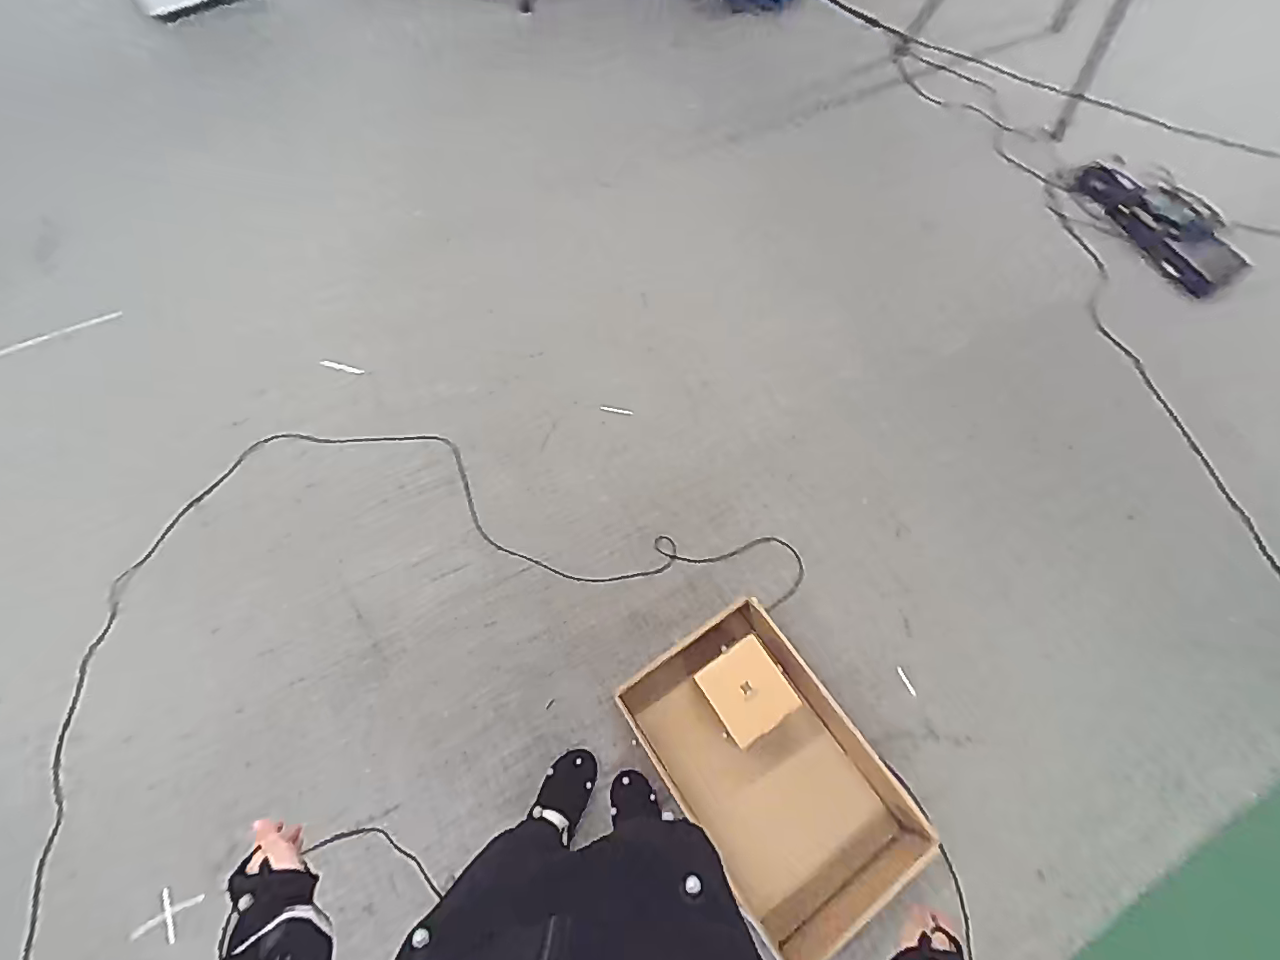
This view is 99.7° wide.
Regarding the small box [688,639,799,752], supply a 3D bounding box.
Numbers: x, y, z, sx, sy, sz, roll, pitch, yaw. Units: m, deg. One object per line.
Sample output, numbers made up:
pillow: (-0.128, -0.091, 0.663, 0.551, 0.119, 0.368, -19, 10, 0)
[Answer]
small box: (0.225, 0.490, 1.233, 0.168, 0.176, 0.179, -31, 71, -13)
